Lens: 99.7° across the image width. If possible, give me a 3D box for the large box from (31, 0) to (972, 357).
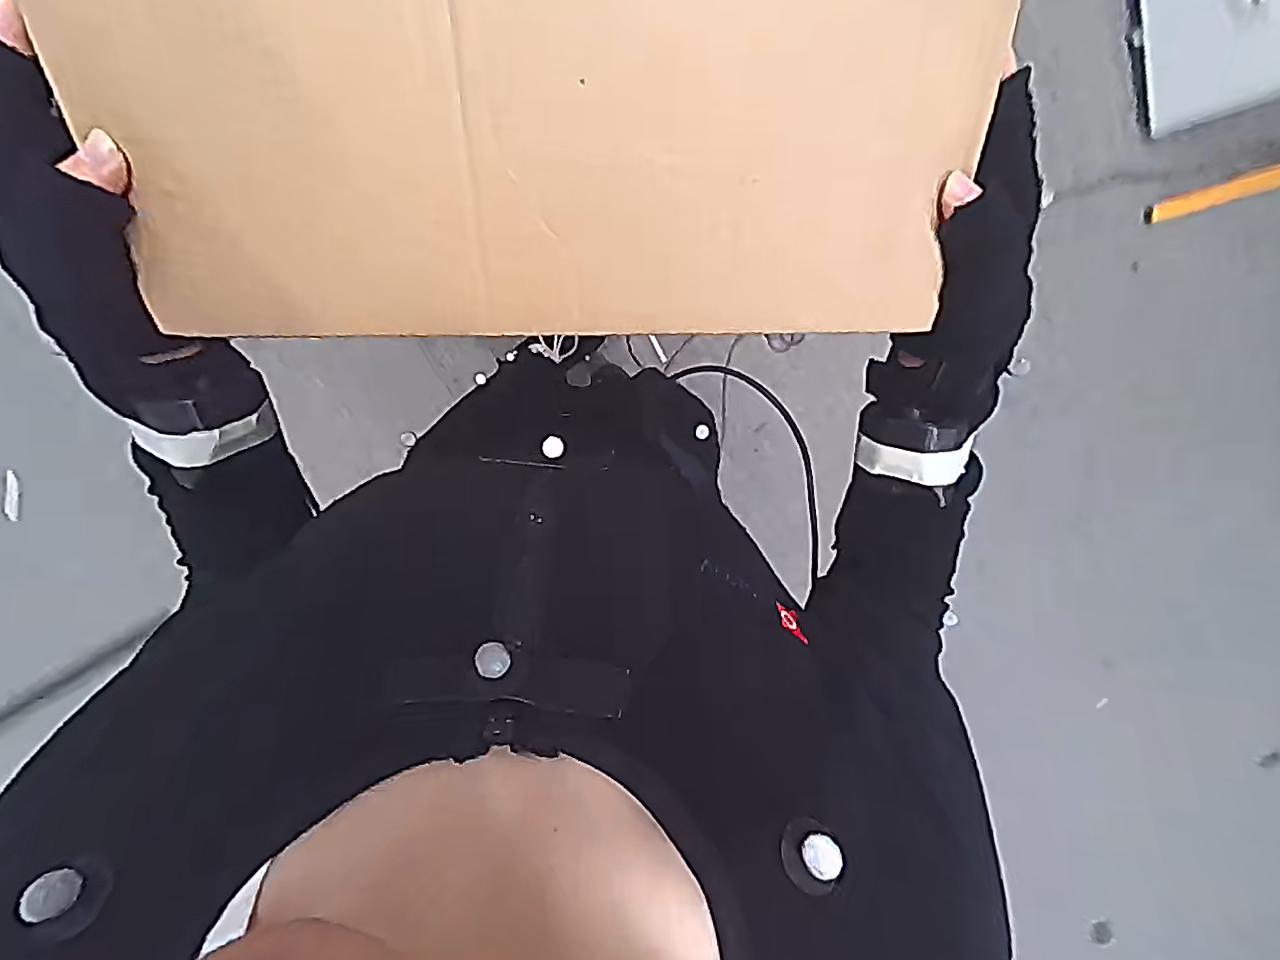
[{"bbox_3d":[-0.057,-0.284,0.355,0.408,0.320,0.320,-3,118,-2],"label":"large box"}]
